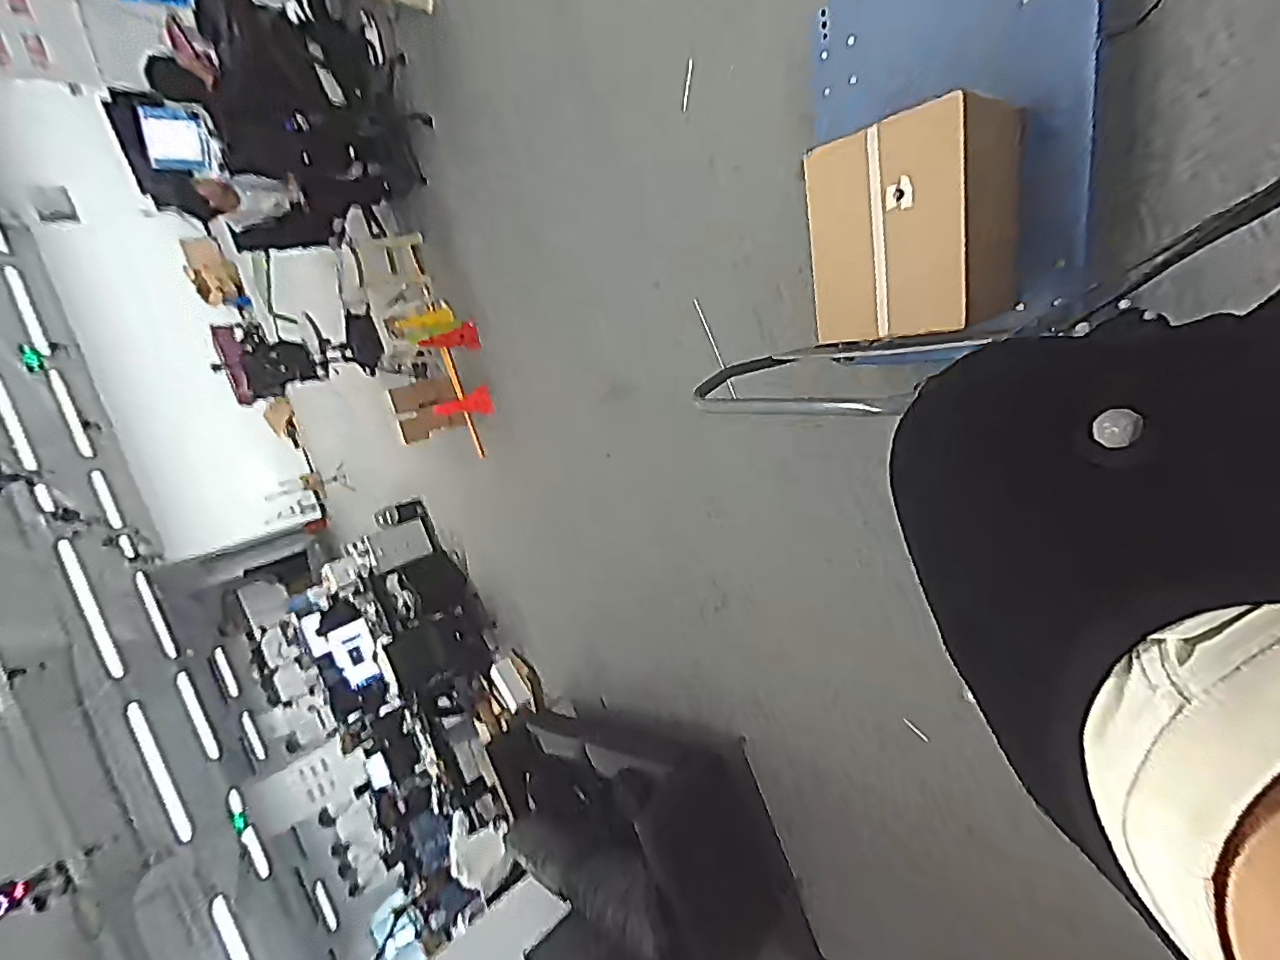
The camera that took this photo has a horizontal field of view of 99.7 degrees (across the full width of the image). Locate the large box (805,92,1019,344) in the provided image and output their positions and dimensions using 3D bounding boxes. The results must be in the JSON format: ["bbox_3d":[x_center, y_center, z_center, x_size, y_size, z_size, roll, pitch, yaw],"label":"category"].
[{"bbox_3d":[0.595,-0.532,1.173,0.320,0.320,0.408,8,113,49],"label":"large box"}]
